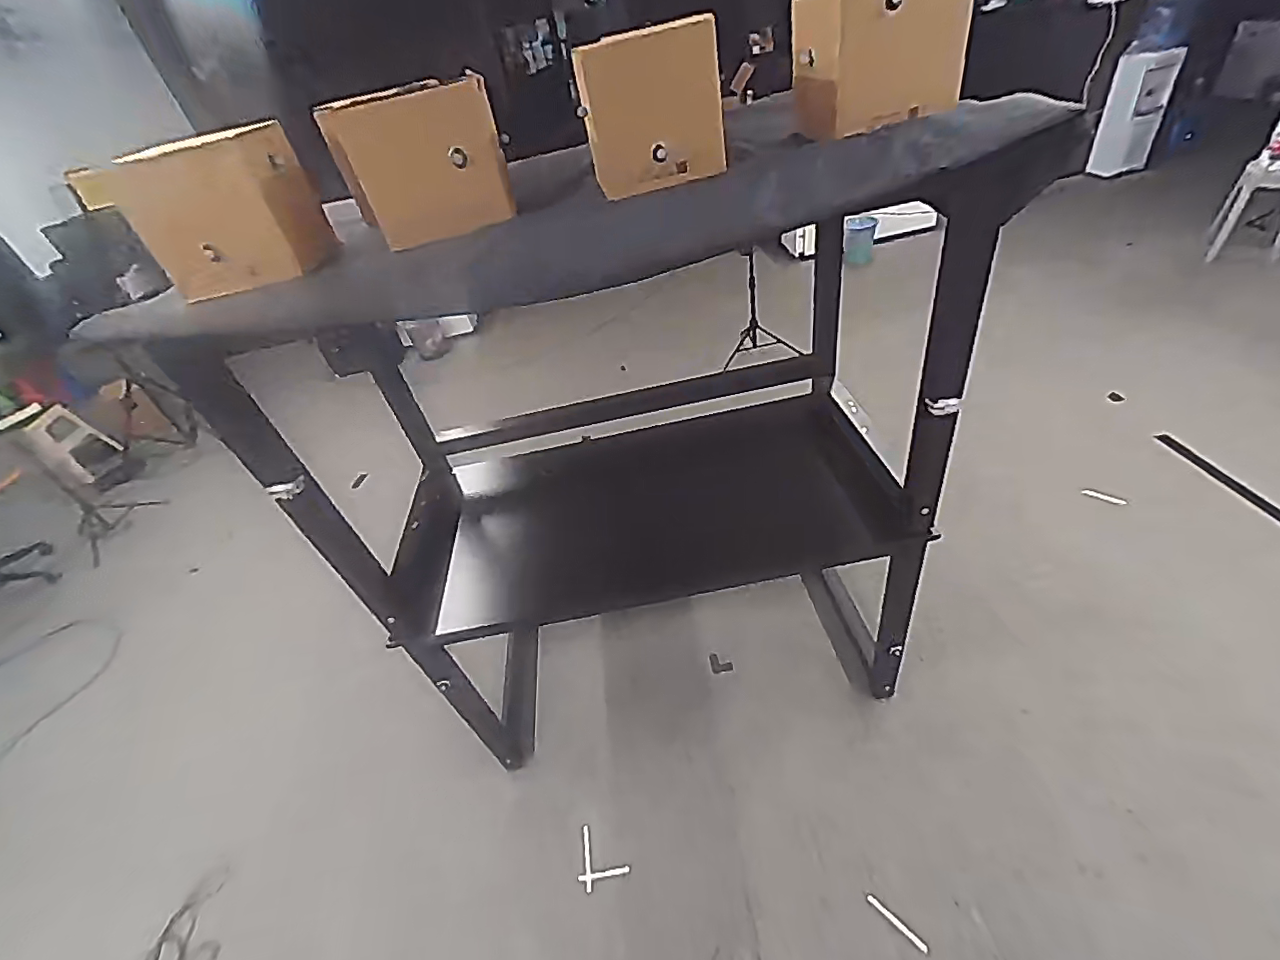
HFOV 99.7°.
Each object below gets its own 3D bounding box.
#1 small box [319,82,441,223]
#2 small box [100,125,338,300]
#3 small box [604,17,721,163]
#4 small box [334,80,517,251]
[{"bbox_3d":[-0.400,-0.557,0.927,0.168,0.176,0.179,-12,39,2],"label":"small box"},{"bbox_3d":[-0.552,-0.369,0.746,0.168,0.176,0.179,-14,40,-1],"label":"small box"},{"bbox_3d":[0.037,-0.653,0.913,0.168,0.176,0.179,-11,39,3],"label":"small box"},{"bbox_3d":[-0.277,-0.437,0.750,0.179,0.176,0.168,-12,37,-2],"label":"small box"}]
